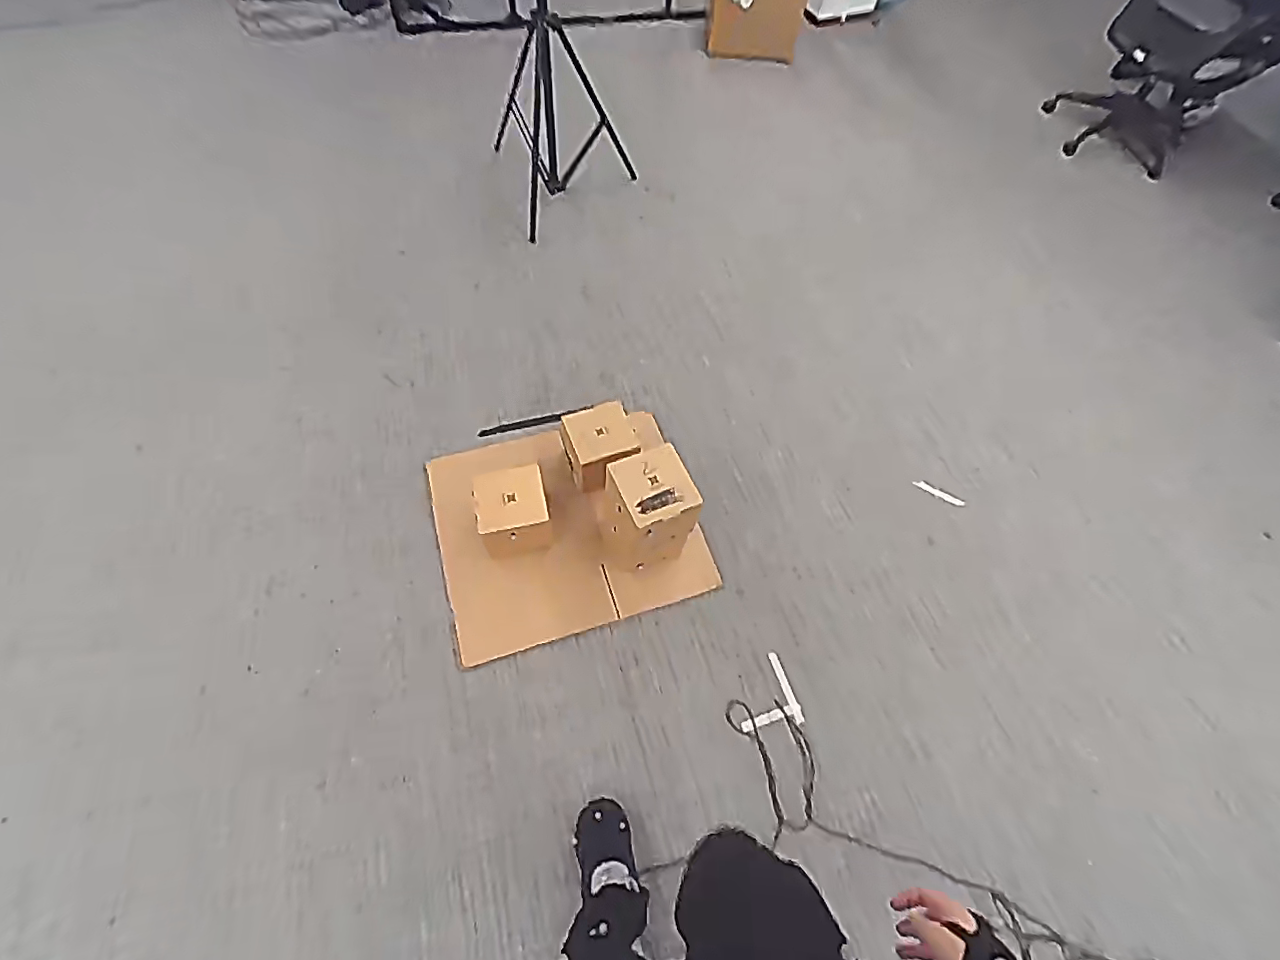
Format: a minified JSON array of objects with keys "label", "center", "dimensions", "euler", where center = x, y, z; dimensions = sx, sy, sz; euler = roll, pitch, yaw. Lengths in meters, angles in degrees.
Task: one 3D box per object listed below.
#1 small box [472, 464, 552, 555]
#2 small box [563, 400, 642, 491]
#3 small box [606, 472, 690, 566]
[{"label":"small box","center":[-0.329,0.082,1.417],"dimensions":[0.179,0.176,0.168],"euler":[-12,64,-9]},{"label":"small box","center":[-0.108,-0.094,1.533],"dimensions":[0.179,0.176,0.168],"euler":[-19,64,-14]},{"label":"small box","center":[0.014,0.112,1.431],"dimensions":[0.168,0.176,0.179],"euler":[-19,65,-14]}]
